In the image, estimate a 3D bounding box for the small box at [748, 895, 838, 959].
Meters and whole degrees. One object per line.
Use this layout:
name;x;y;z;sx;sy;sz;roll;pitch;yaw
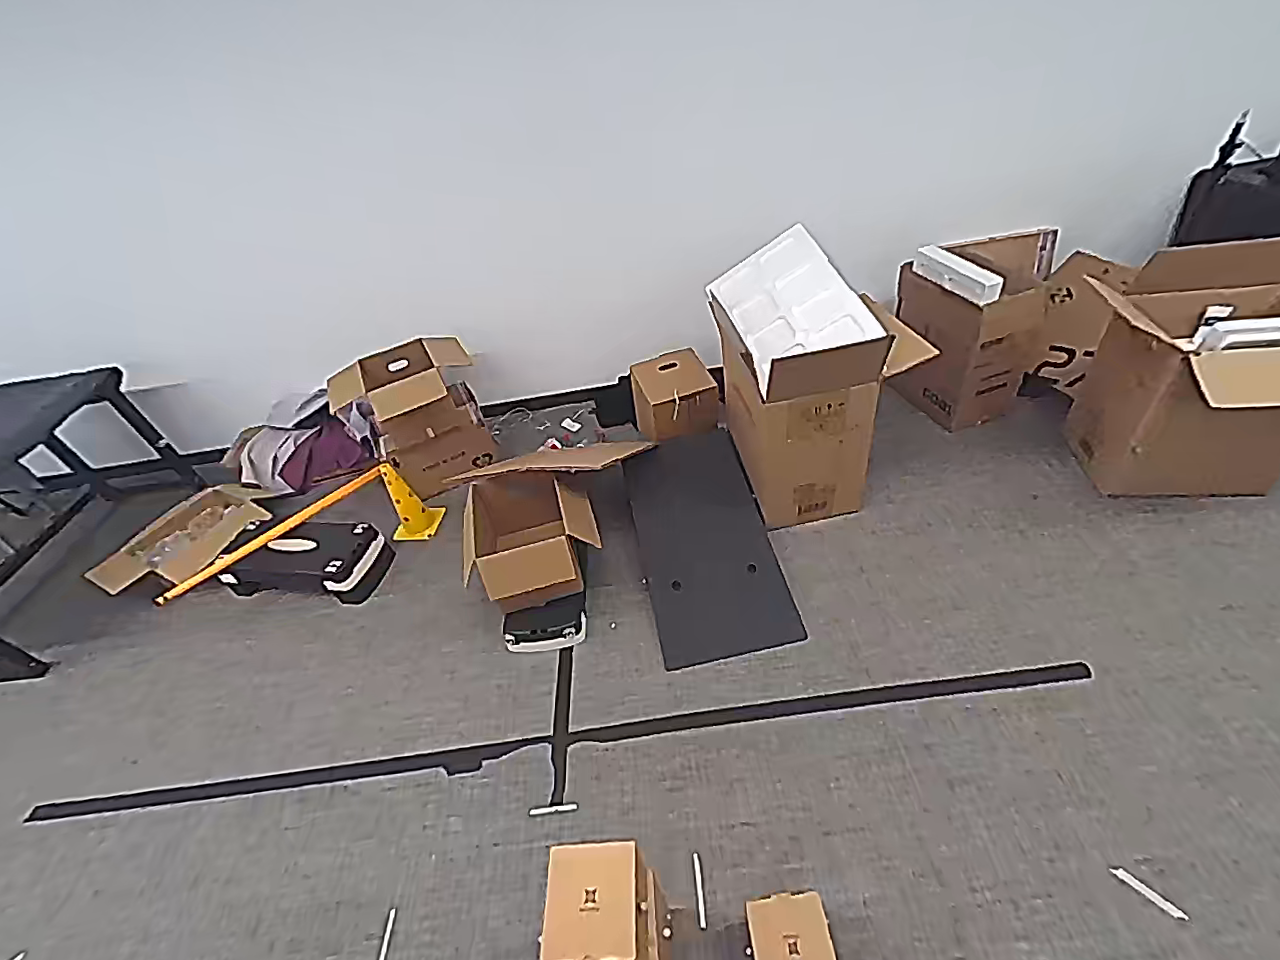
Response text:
small box;0.332;1.030;1.164;0.168;0.176;0.179;-10;42;3

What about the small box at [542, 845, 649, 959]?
small box;-0.074;0.807;1.004;0.168;0.176;0.179;-7;41;4

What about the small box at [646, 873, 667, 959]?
small box;-0.041;0.931;1.104;0.179;0.176;0.168;-7;41;2
